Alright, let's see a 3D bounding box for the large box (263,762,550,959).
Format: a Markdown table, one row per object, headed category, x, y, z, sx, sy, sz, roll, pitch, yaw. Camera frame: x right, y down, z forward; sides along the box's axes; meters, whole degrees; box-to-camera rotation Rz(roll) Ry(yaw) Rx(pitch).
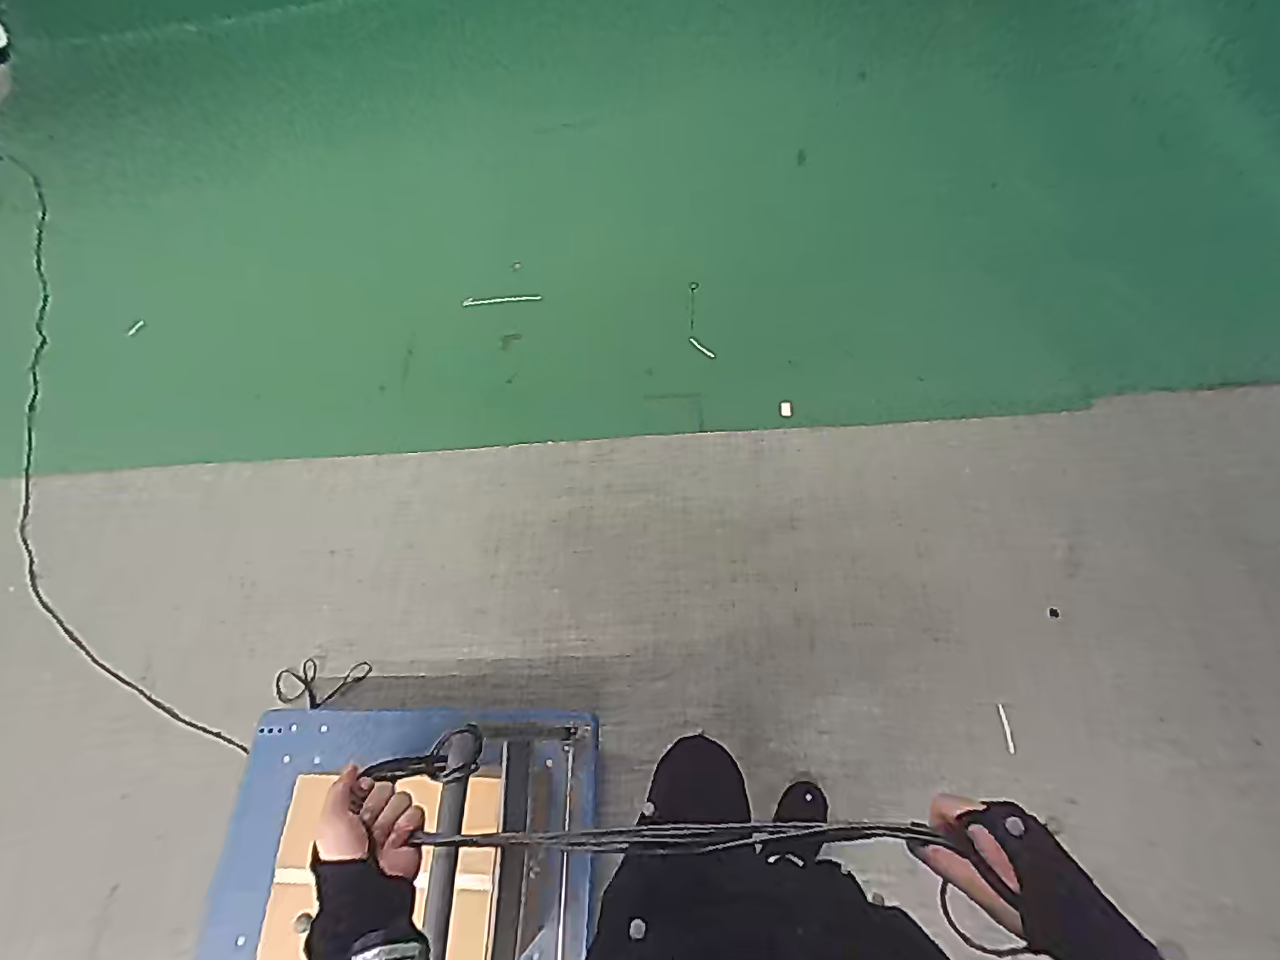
| category | x | y | z | sx | sy | sz | roll | pitch | yaw |
| --- | --- | --- | --- | --- | --- | --- | --- | --- | --- |
| large box | -0.415 | 0.742 | 1.065 | 0.408 | 0.320 | 0.320 | -3 | 65 | 7 |
